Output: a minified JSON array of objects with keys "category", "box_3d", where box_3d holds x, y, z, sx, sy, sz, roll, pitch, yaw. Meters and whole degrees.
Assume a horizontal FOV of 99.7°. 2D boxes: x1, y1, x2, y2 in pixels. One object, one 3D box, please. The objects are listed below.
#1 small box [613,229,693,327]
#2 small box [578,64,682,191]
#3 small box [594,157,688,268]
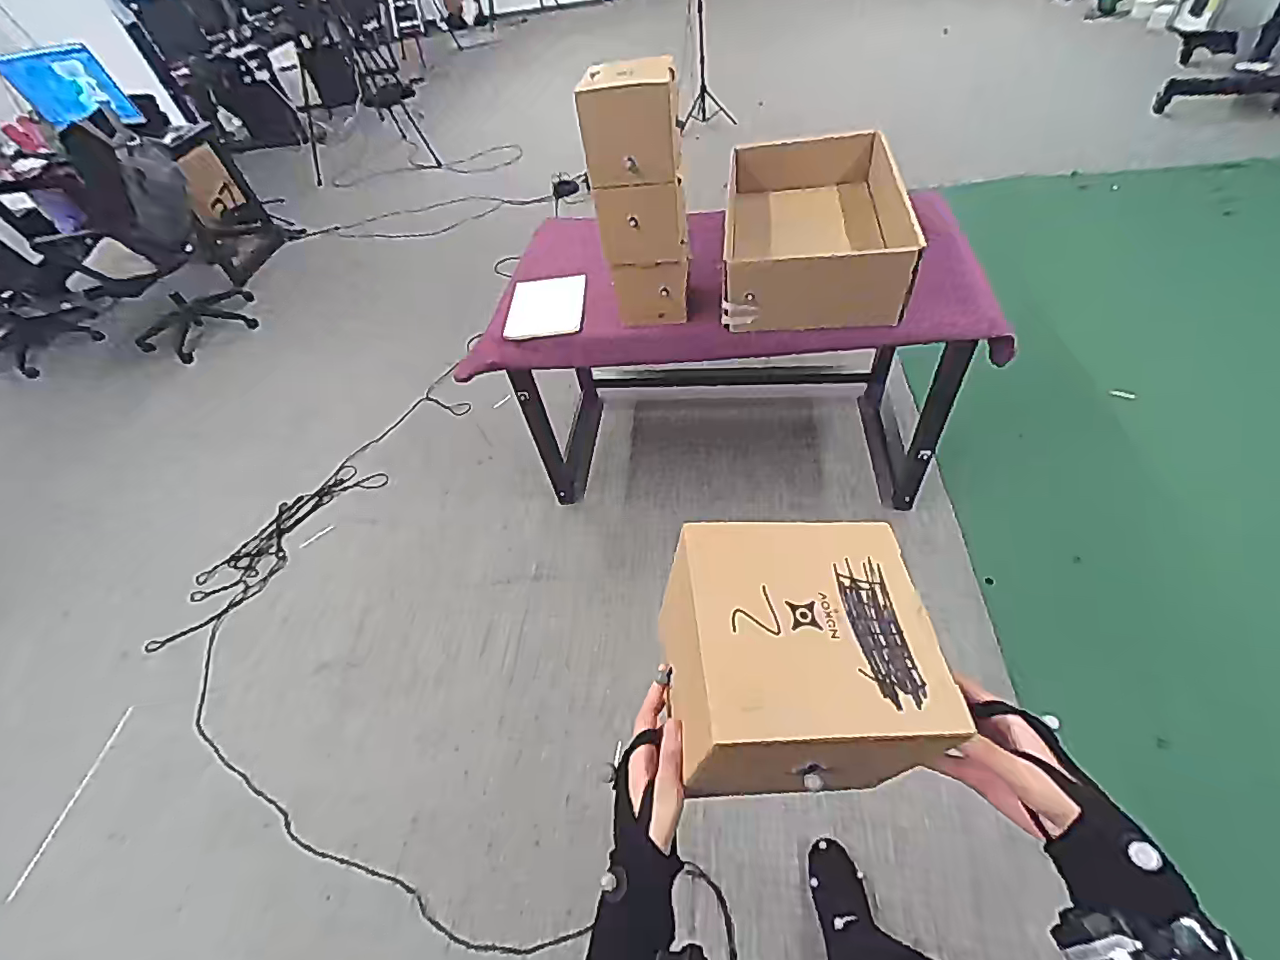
[{"category":"small box","box_3d":[0.040,-0.490,1.324,0.168,0.176,0.179,1,49,10]},{"category":"small box","box_3d":[-0.009,-0.693,1.072,0.179,0.176,0.168,2,49,10]},{"category":"small box","box_3d":[0.011,-0.587,1.196,0.179,0.176,0.168,1,49,11]}]
